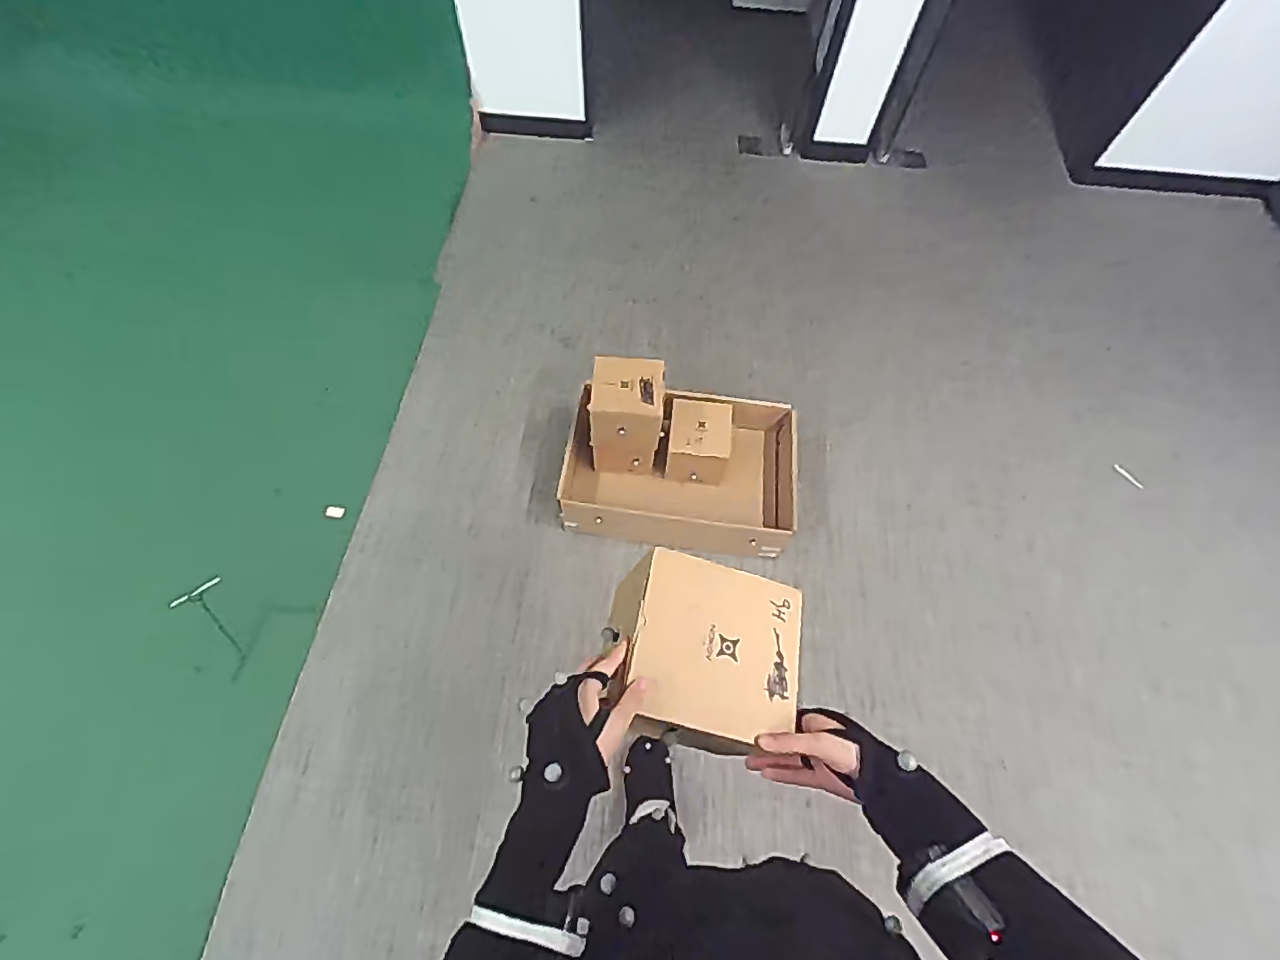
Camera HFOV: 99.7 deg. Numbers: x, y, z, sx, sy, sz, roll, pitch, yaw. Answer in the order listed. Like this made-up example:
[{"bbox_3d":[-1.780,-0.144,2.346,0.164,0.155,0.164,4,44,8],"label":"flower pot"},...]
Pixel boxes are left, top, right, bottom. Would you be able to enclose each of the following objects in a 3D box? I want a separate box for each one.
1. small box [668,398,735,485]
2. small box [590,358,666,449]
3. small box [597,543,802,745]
[{"bbox_3d":[0.170,-0.106,1.522,0.168,0.176,0.179,6,64,3],"label":"small box"},{"bbox_3d":[-0.028,-0.190,1.376,0.179,0.176,0.168,3,64,0],"label":"small box"},{"bbox_3d":[0.060,0.193,0.605,0.179,0.176,0.168,16,62,-7],"label":"small box"}]
